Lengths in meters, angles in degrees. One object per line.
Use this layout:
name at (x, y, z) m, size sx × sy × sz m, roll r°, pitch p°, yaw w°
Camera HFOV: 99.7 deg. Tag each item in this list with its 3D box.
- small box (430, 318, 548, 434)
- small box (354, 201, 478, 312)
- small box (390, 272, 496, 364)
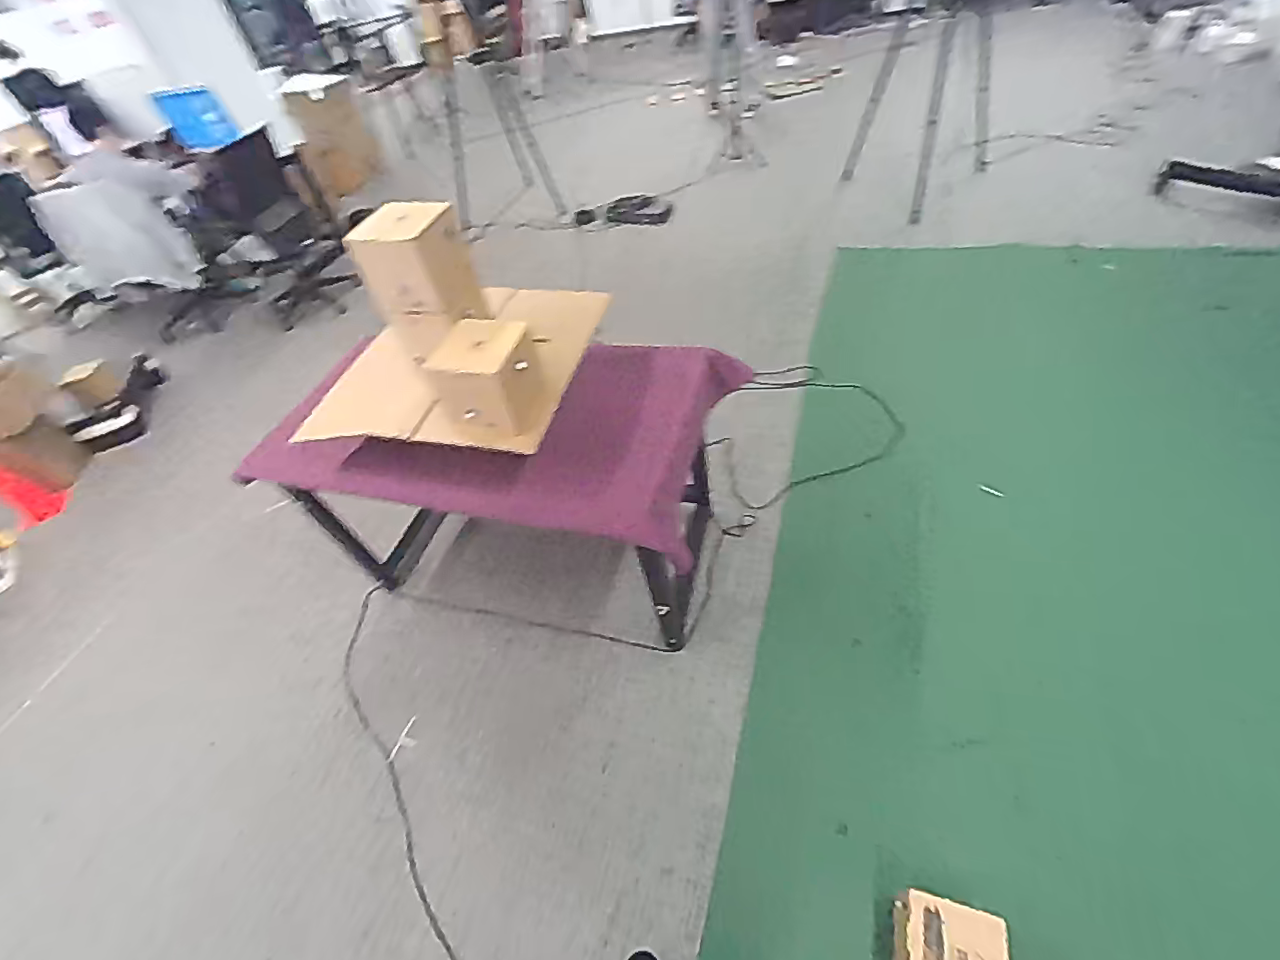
small box at (-0.311, -0.225, 1.163) m, size 0.168 × 0.176 × 0.179 m, roll 7°, pitch 52°, yaw 15°
small box at (-0.484, -0.500, 1.205) m, size 0.168 × 0.176 × 0.179 m, roll 7°, pitch 52°, yaw 14°
small box at (-0.466, -0.391, 1.326) m, size 0.168 × 0.176 × 0.179 m, roll 8°, pitch 51°, yaw 14°
